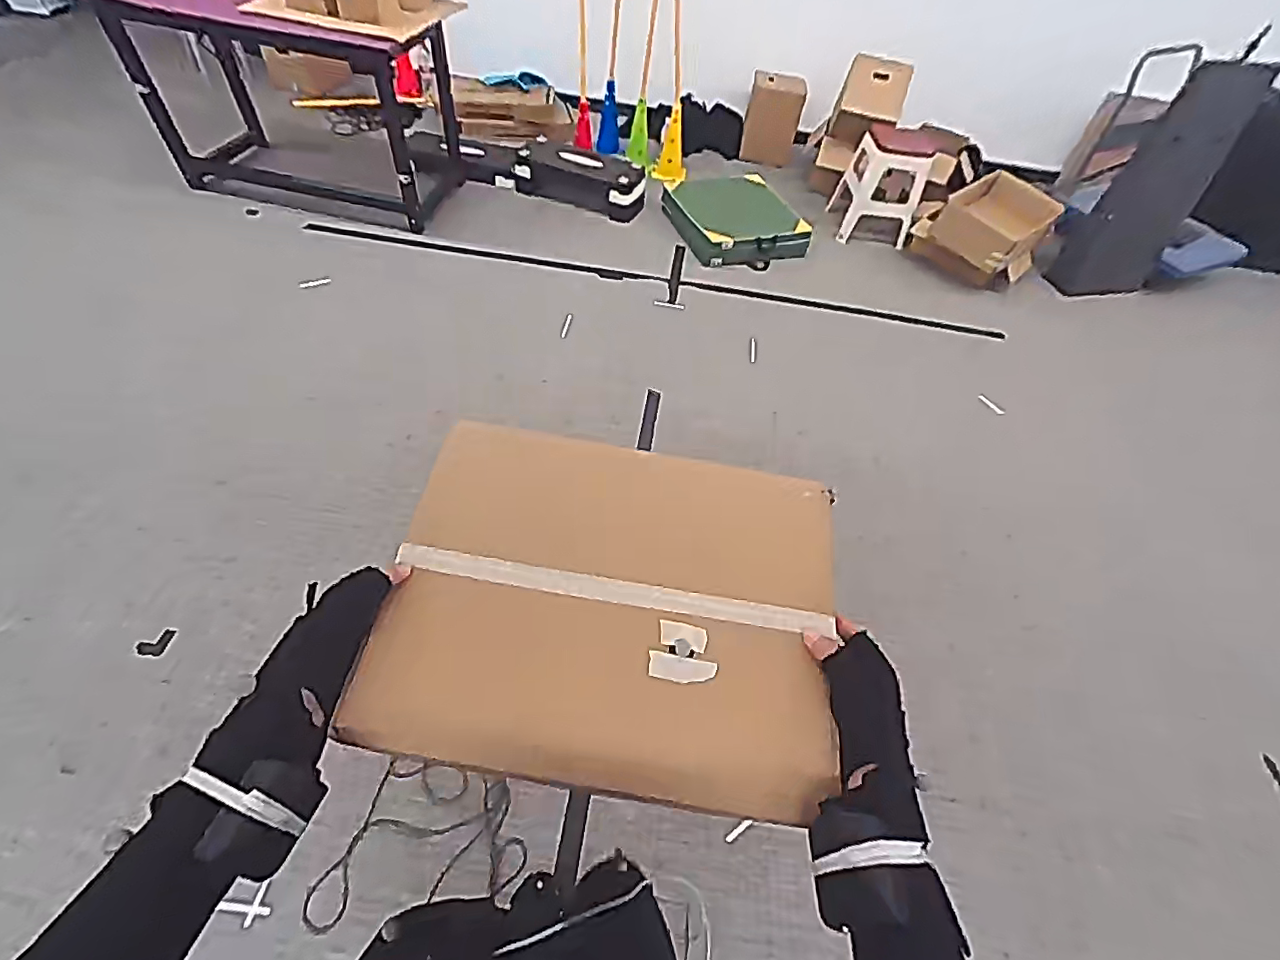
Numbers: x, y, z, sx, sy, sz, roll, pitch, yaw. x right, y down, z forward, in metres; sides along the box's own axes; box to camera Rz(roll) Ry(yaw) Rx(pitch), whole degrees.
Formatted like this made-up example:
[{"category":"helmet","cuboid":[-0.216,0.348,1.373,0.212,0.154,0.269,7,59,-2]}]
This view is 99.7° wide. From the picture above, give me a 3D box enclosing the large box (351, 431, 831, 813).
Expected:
[{"category":"large box","cuboid":[-0.033,0.180,0.638,0.408,0.320,0.320,10,61,0]}]
